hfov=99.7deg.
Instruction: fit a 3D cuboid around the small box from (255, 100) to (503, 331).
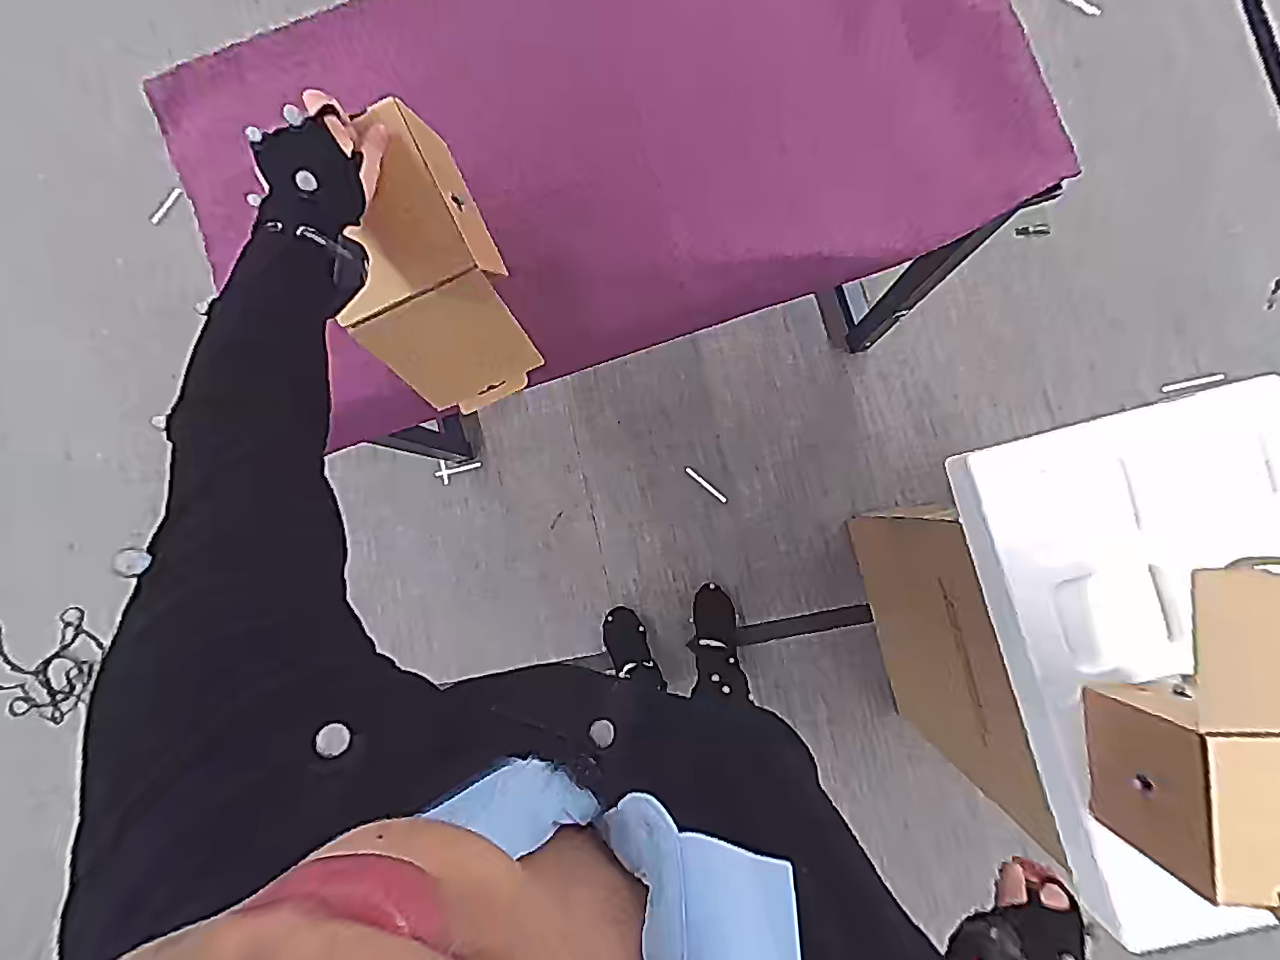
[{"bbox_3d":[-0.282,-0.293,0.636,0.168,0.176,0.179,-23,106,5],"label":"small box"}]
